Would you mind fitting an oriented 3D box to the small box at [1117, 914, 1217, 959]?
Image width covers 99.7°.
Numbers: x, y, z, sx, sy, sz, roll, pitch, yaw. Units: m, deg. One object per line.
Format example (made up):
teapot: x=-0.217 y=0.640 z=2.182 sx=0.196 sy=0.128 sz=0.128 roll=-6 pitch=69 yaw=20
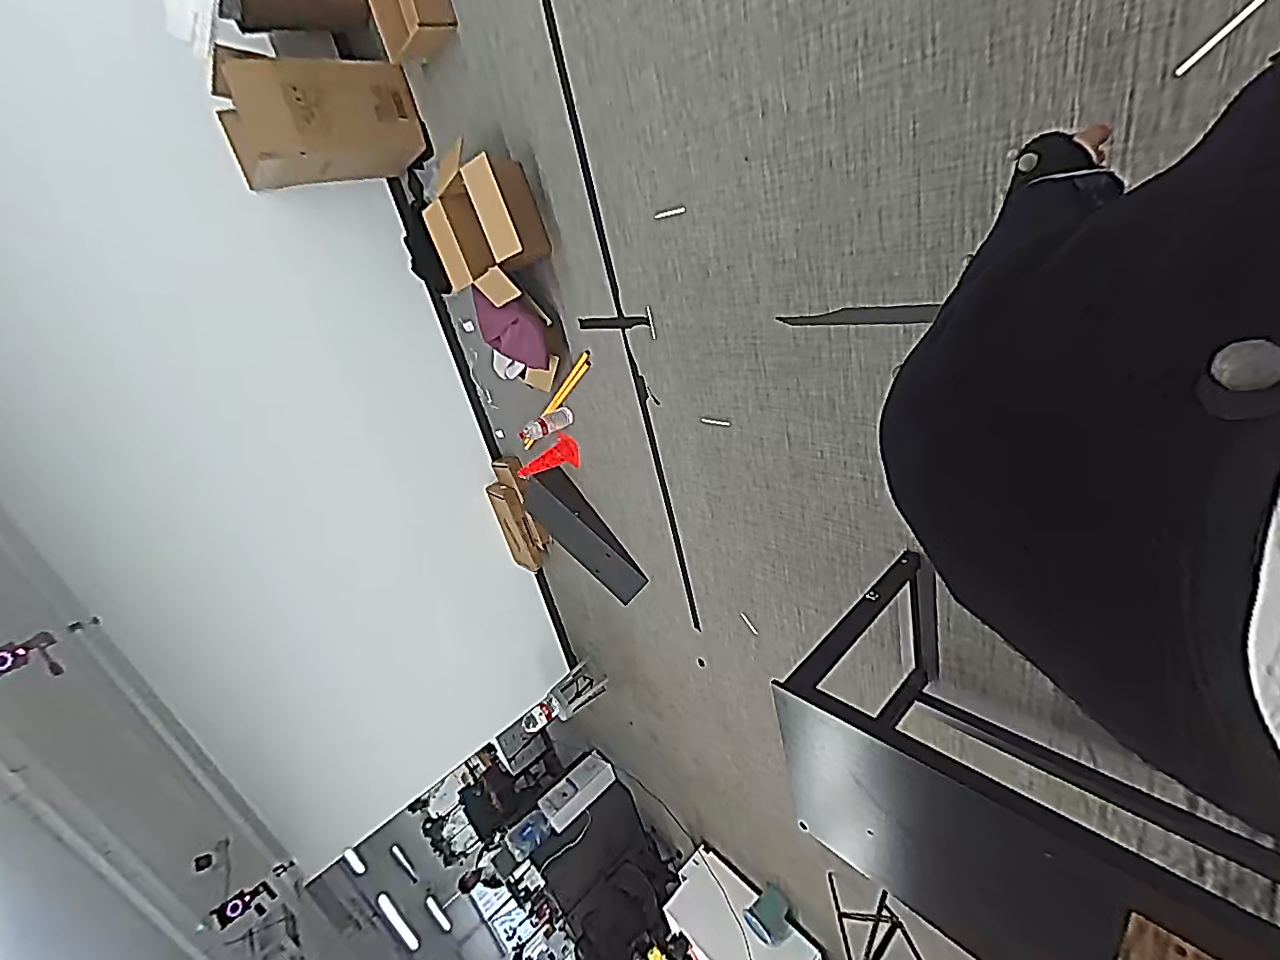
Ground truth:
small box: x=0.843 y=0.842 z=0.841 sx=0.168 sy=0.176 sz=0.179 roll=15 pitch=128 yaw=49
